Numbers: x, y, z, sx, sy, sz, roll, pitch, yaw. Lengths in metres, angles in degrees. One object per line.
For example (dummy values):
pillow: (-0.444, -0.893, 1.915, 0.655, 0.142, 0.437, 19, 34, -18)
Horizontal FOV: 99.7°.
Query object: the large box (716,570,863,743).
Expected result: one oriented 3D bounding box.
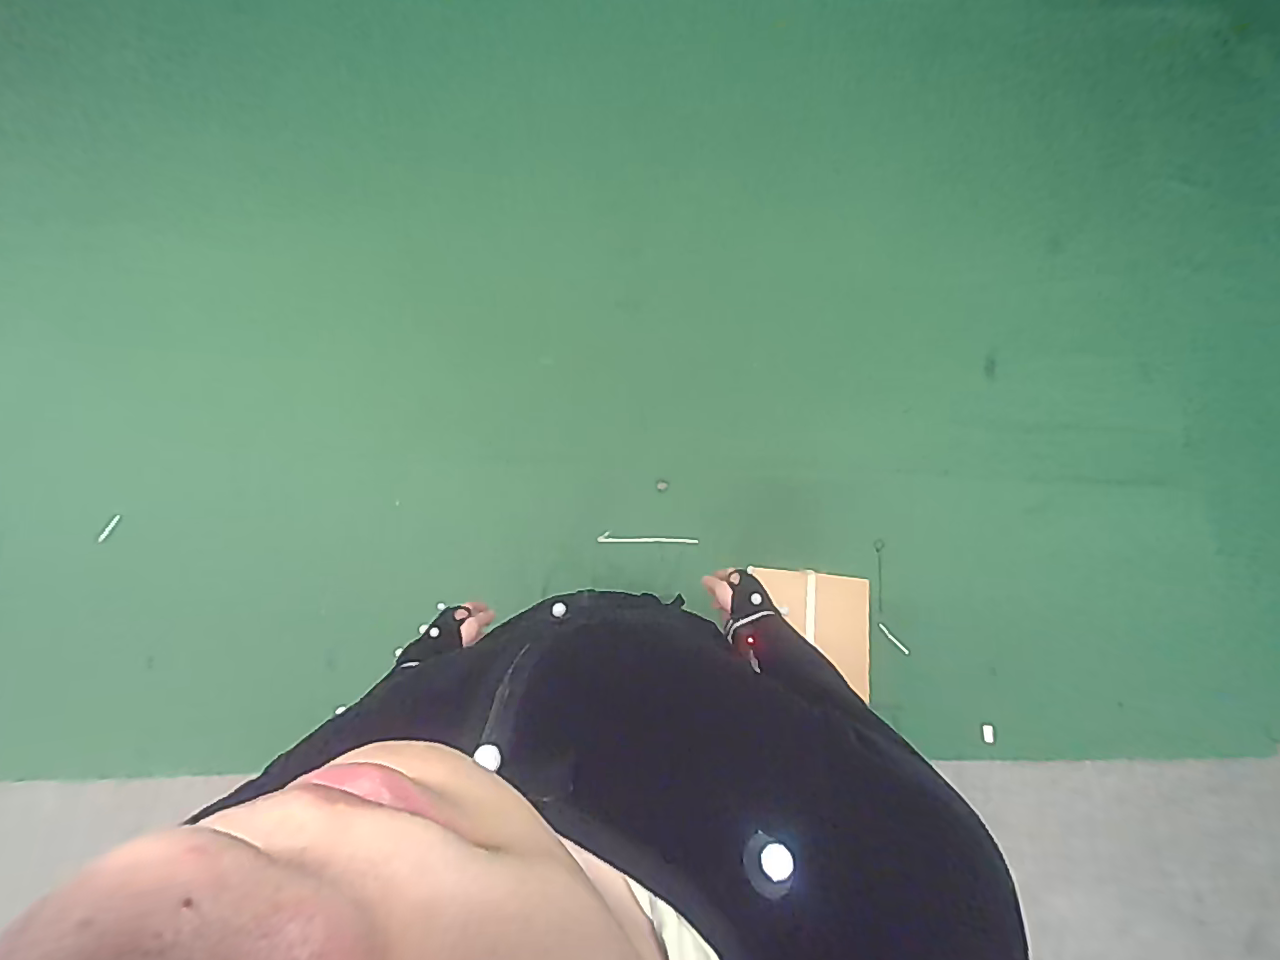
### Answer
large box: (0.401, 0.473, 1.510, 0.320, 0.320, 0.408, 6, 76, -2)
